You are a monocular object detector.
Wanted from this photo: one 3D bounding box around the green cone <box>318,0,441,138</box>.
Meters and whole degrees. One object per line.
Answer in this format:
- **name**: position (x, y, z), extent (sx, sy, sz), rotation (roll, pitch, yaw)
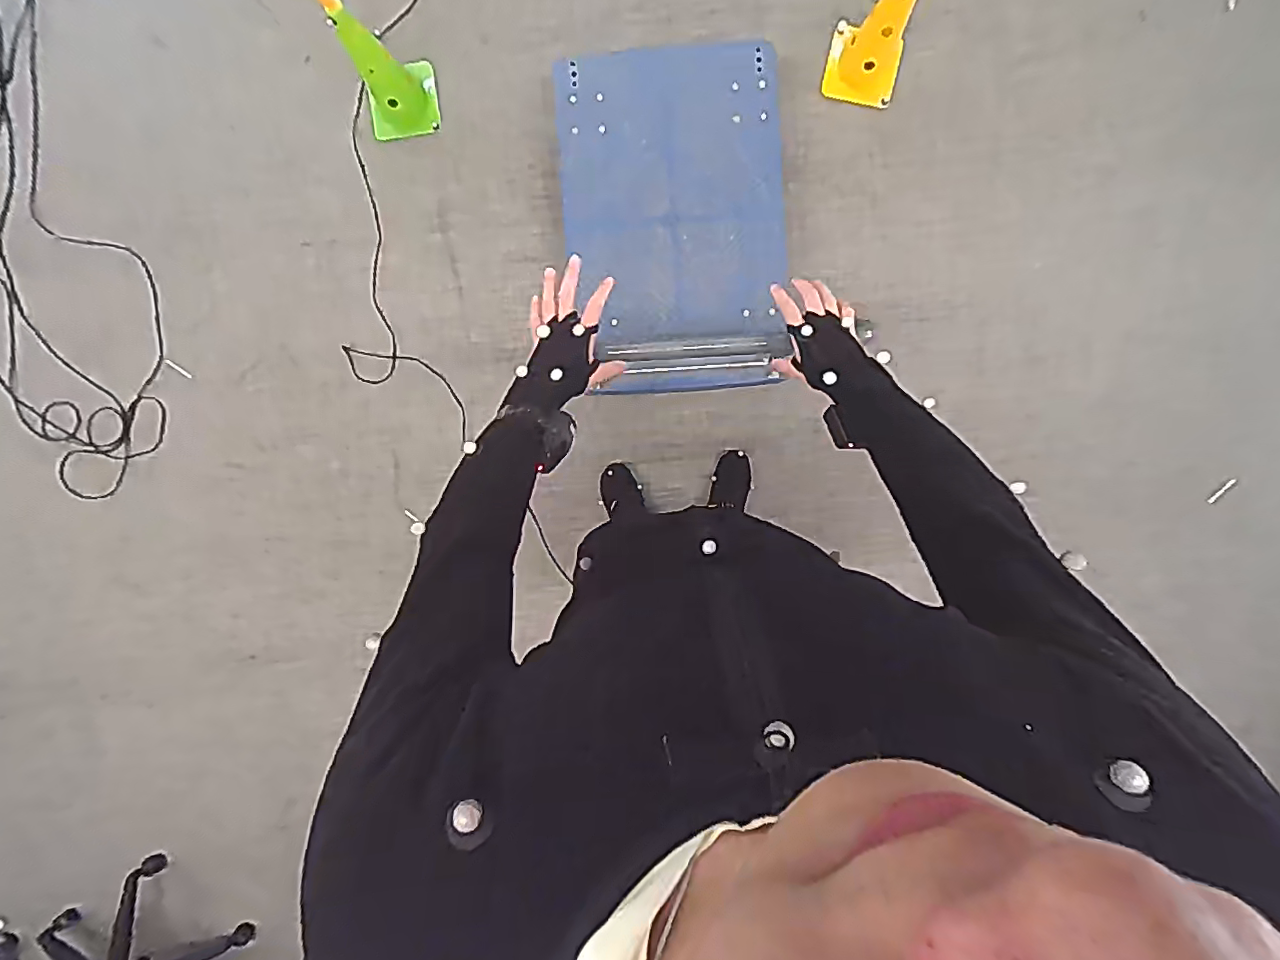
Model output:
- **green cone**: position (-0.699, -1.105, 1.408), extent (0.202, 0.368, 0.200), rotation (-8, 93, 4)
